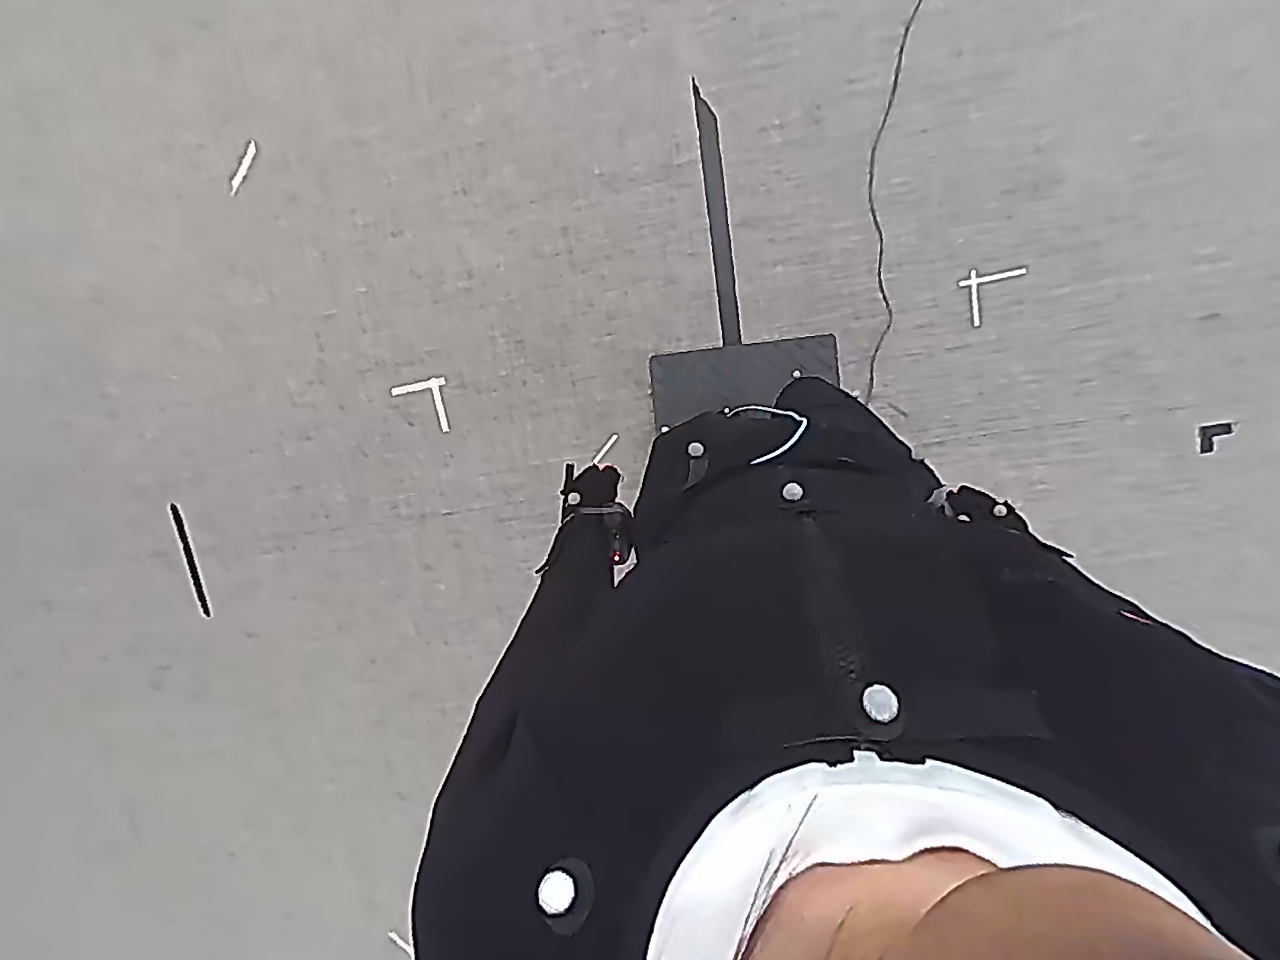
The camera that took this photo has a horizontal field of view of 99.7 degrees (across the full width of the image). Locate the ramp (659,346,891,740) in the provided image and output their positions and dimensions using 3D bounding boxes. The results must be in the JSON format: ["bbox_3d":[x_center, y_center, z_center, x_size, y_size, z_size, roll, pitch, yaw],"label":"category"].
[{"bbox_3d":[0.339,0.168,1.430,0.509,0.206,0.991,-8,96,11],"label":"ramp"}]
